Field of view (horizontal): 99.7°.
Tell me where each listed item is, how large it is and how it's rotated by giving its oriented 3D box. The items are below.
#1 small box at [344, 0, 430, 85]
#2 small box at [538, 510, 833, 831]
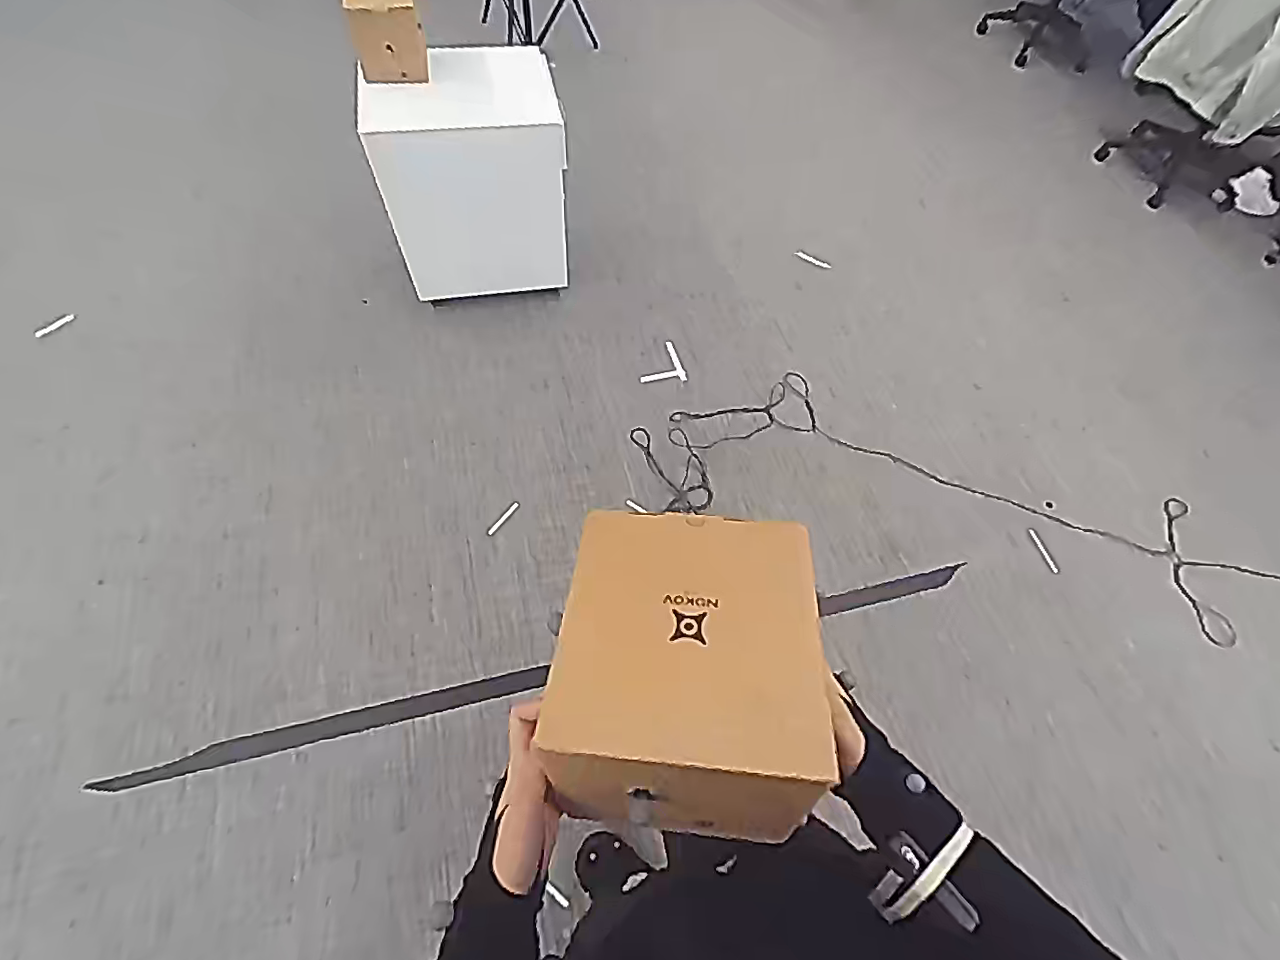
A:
[{"bbox_3d":[-0.661,-1.176,1.426,0.168,0.176,0.179,-9,65,-11],"label":"small box"},{"bbox_3d":[0.034,0.144,0.407,0.168,0.176,0.179,3,46,5],"label":"small box"}]
